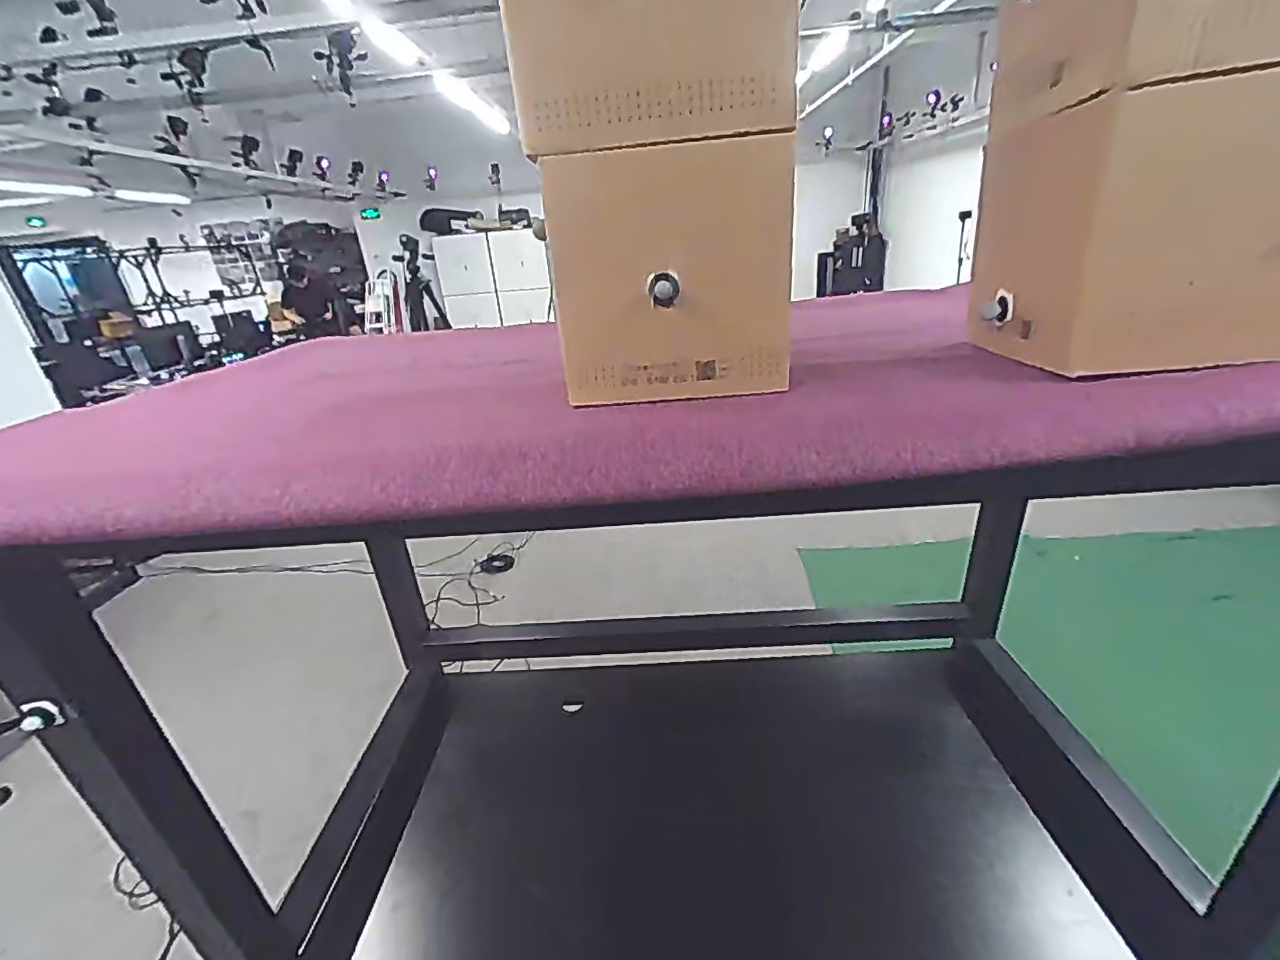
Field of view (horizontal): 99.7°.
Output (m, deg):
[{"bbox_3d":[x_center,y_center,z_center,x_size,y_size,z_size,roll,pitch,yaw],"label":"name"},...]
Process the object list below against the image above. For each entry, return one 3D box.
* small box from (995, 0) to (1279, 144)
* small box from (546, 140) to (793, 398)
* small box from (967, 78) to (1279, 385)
[{"bbox_3d":[0.357,-0.326,0.348,0.179,0.176,0.168,-1,21,11],"label":"small box"},{"bbox_3d":[0.028,-0.168,0.456,0.168,0.176,0.179,-3,23,3],"label":"small box"},{"bbox_3d":[0.374,-0.173,0.401,0.179,0.176,0.168,-4,21,8],"label":"small box"}]
